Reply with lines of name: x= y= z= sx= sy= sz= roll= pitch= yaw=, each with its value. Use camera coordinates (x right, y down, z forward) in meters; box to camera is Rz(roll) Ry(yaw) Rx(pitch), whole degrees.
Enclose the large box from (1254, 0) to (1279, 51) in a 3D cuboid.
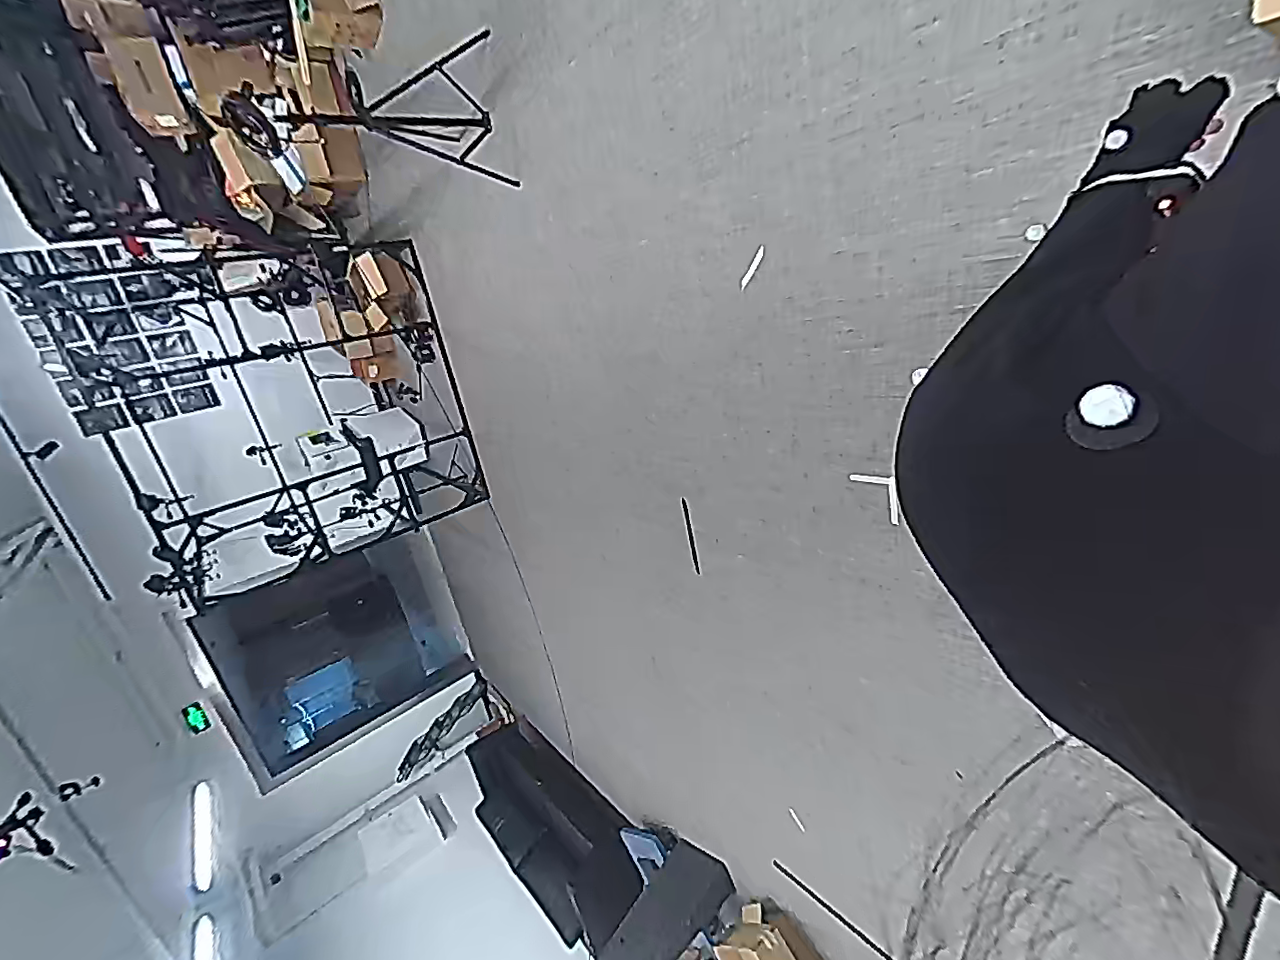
large box: x=1.008 y=-0.768 z=0.600 sx=0.408 sy=0.320 sz=0.320 roll=9 pitch=118 yaw=50
